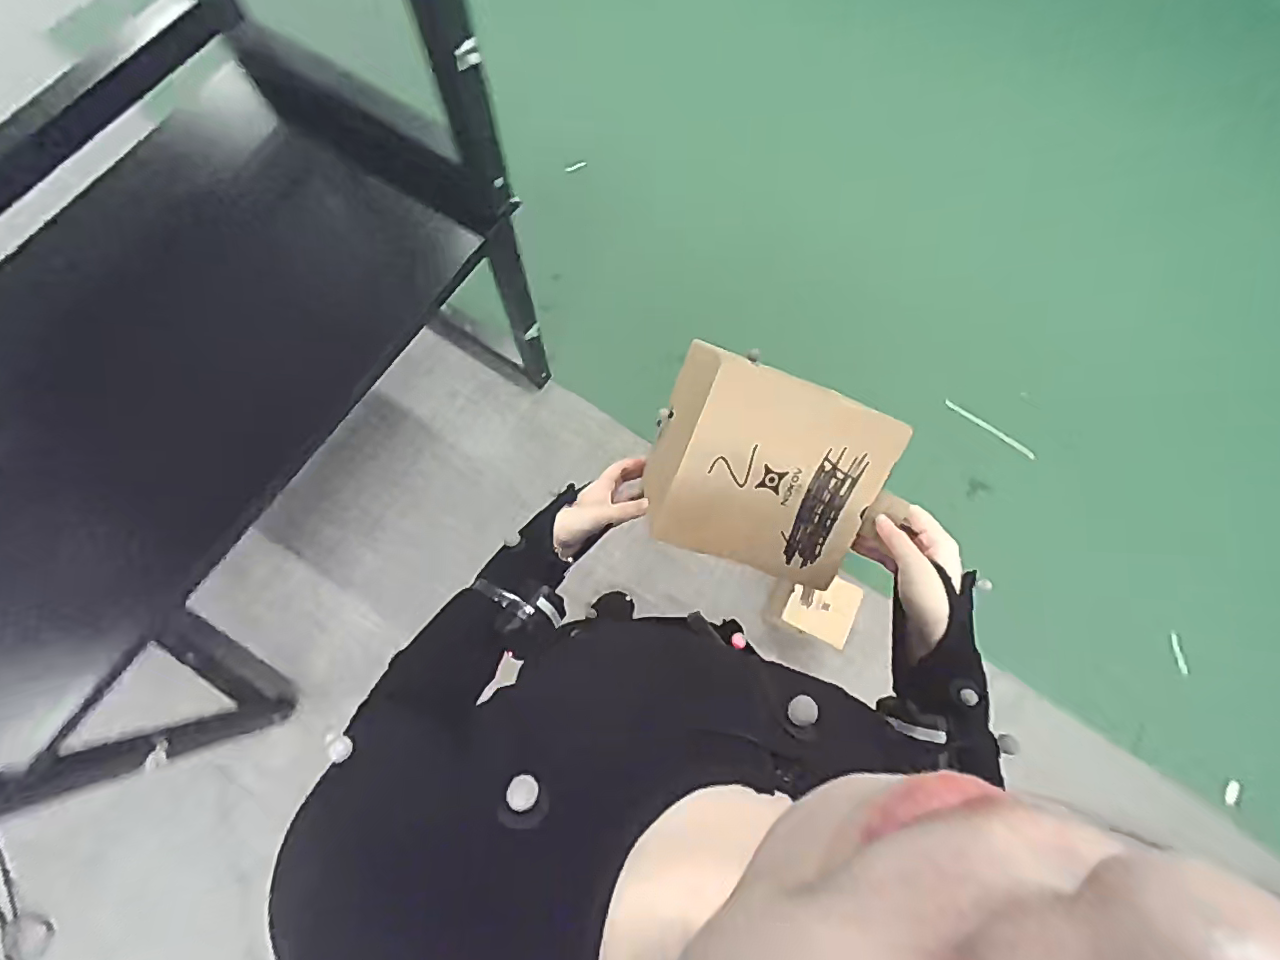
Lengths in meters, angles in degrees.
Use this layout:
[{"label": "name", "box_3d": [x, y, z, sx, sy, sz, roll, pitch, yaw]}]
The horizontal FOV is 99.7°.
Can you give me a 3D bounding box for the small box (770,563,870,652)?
[{"label": "small box", "box_3d": [0.469, 0.340, 1.439, 0.179, 0.176, 0.168, 27, 77, 3]}]
